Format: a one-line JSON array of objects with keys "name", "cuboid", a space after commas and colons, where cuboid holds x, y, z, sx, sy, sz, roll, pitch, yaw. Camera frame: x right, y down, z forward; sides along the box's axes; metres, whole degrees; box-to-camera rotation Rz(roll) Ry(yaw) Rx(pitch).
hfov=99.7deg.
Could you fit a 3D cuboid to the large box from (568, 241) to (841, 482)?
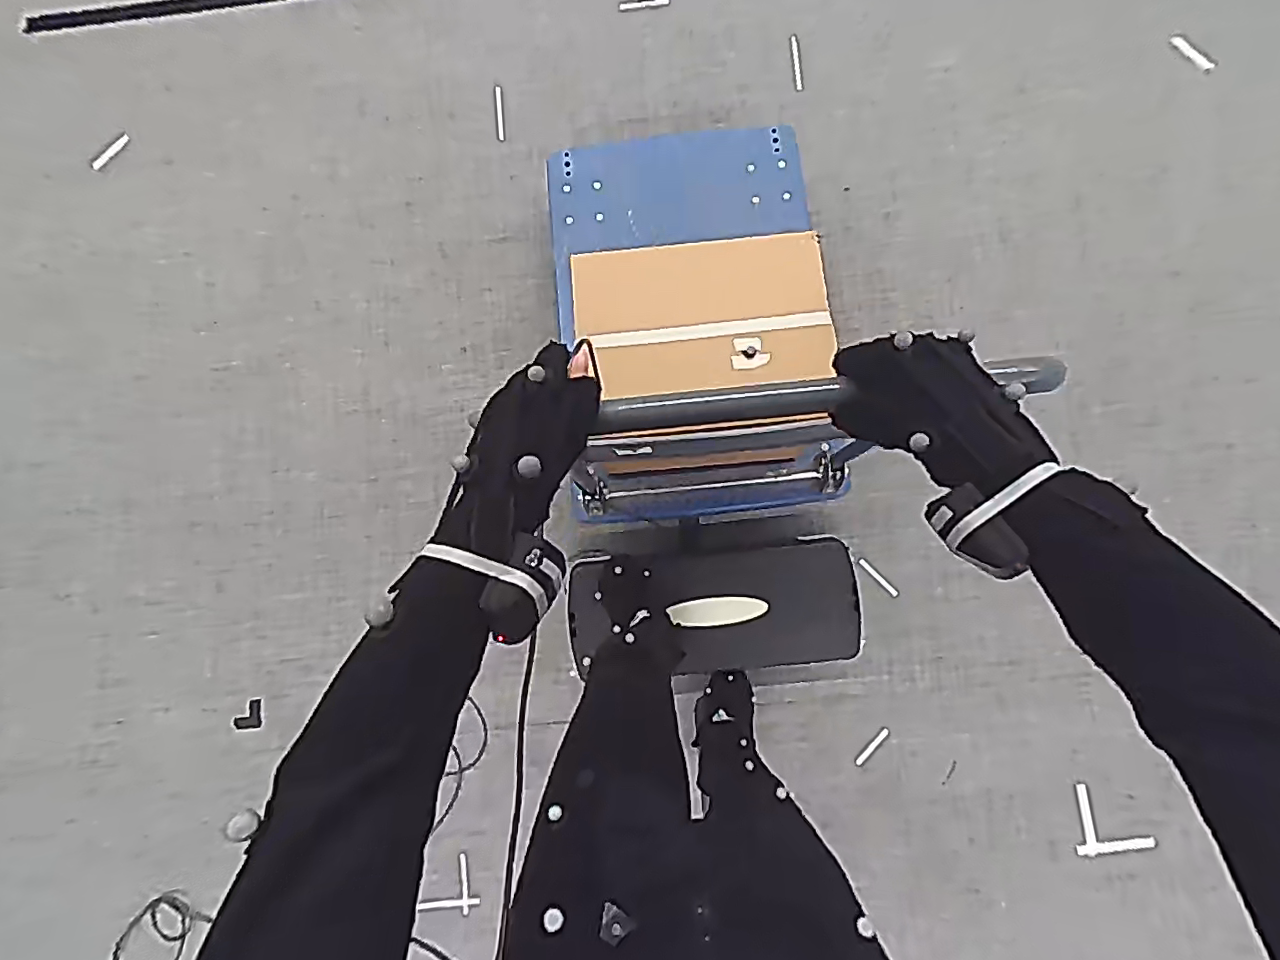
[{"name": "large box", "cuboid": [0.097, -0.190, 0.995, 0.408, 0.320, 0.320, -6, 81, 0]}]
